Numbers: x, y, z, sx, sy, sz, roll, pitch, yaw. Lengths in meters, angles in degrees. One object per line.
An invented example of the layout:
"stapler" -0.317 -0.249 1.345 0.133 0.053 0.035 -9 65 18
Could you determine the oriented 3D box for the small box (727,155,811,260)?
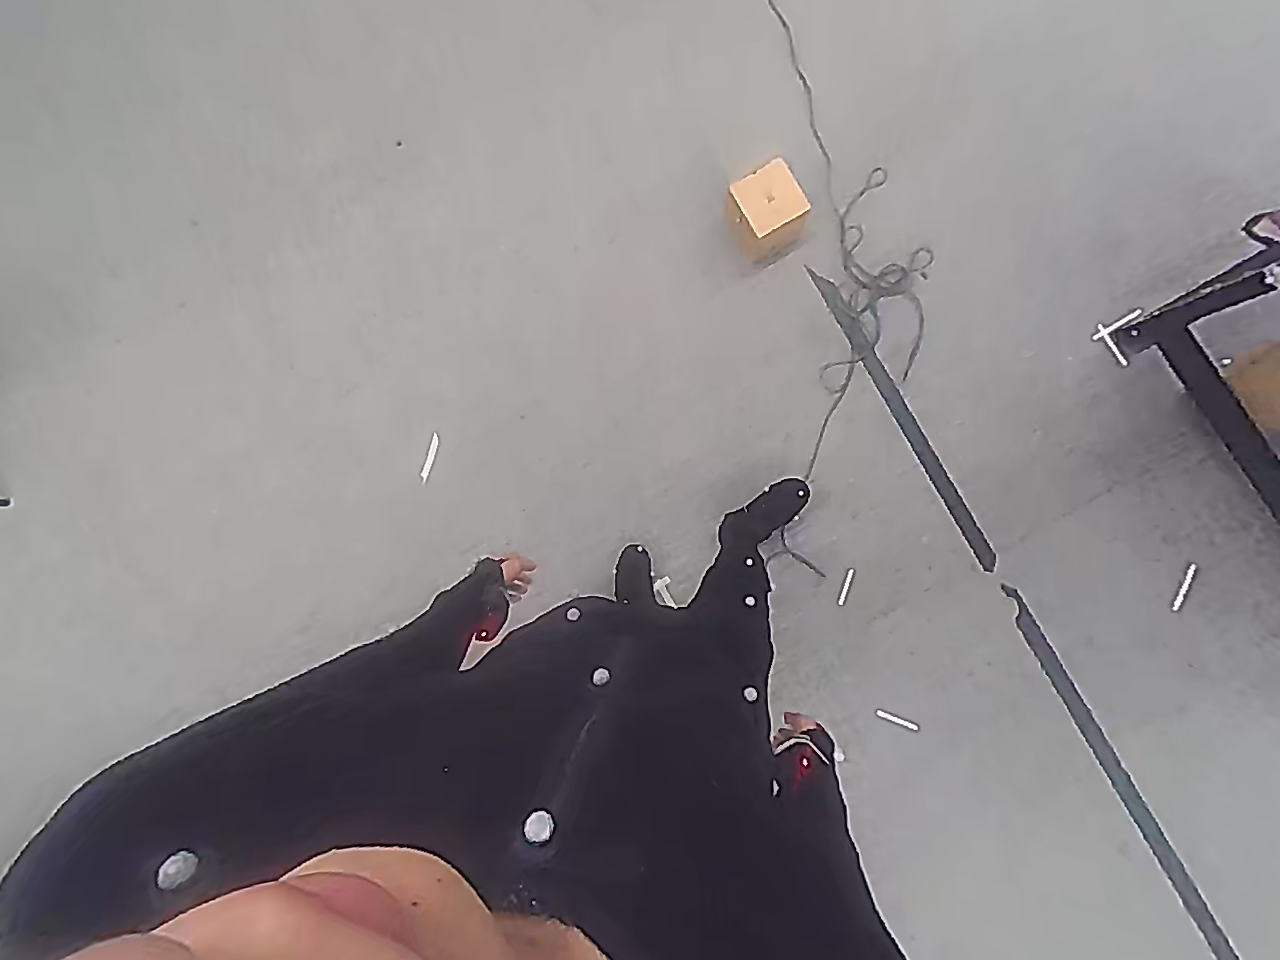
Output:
"small box" 0.361 -0.776 1.558 0.168 0.176 0.179 -29 85 4
